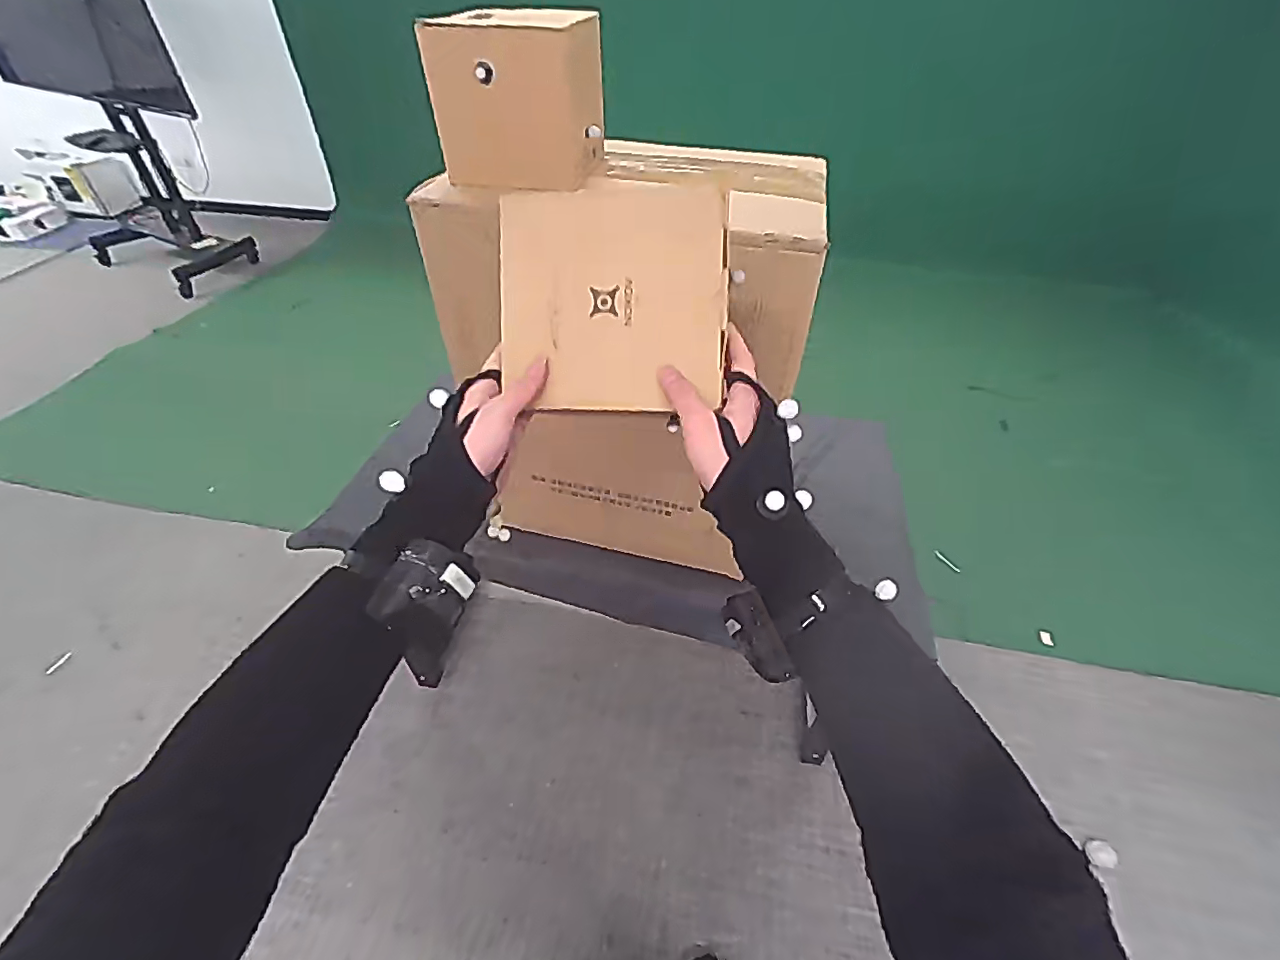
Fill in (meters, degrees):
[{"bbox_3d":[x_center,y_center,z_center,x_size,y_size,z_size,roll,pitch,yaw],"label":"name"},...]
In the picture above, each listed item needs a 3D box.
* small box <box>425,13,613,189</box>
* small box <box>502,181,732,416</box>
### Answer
[{"bbox_3d":[-0.144,-0.499,0.718,0.179,0.176,0.168,11,48,12],"label":"small box"},{"bbox_3d":[-0.009,-0.147,0.493,0.179,0.168,0.176,3,4,11],"label":"small box"}]
